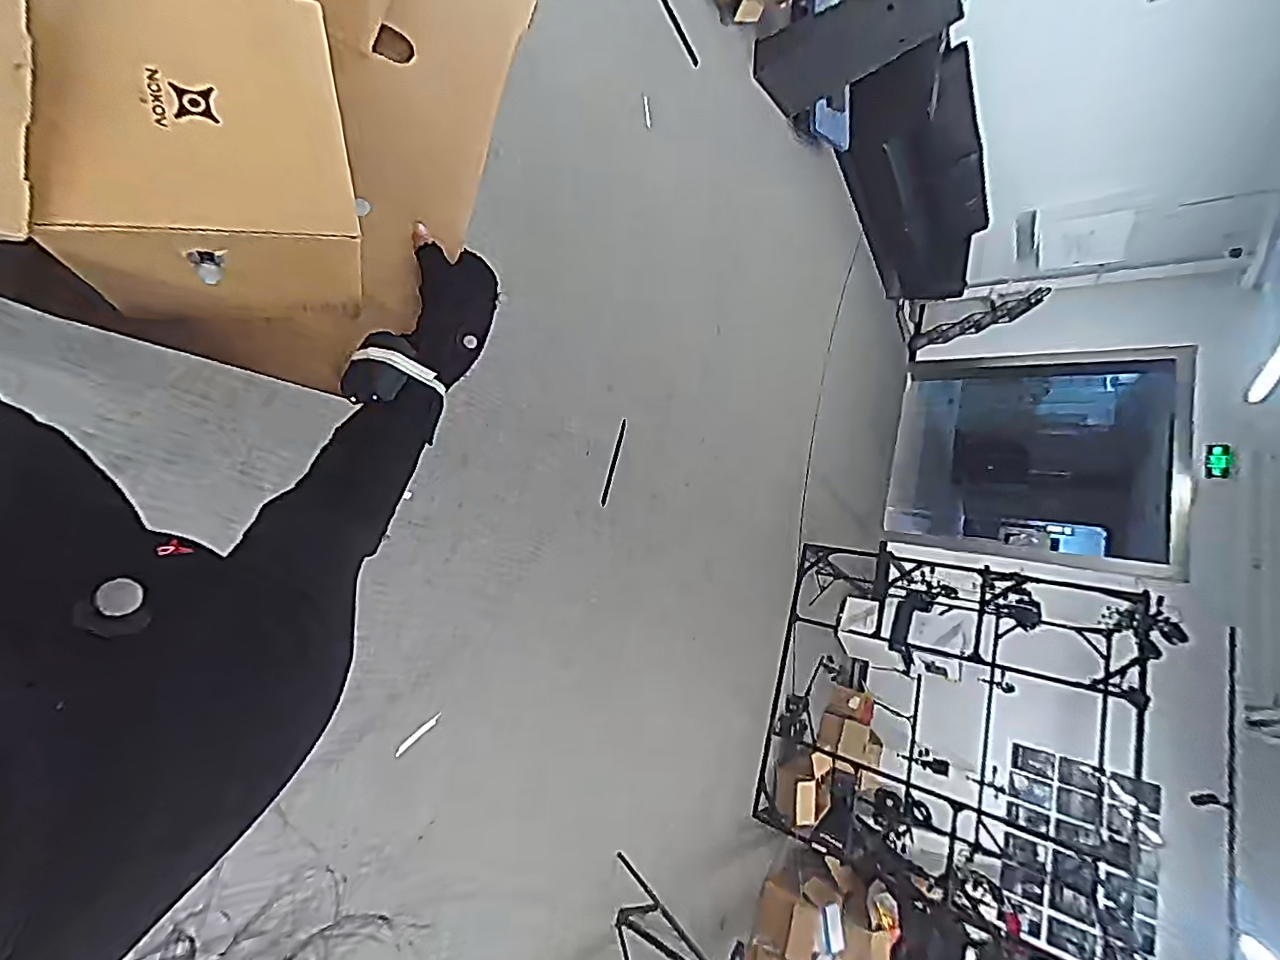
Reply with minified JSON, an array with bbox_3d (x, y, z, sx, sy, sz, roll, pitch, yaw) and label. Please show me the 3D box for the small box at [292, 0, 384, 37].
[{"bbox_3d":[-0.290,-0.541,0.452,0.168,0.176,0.179,18,76,-25],"label":"small box"}]
